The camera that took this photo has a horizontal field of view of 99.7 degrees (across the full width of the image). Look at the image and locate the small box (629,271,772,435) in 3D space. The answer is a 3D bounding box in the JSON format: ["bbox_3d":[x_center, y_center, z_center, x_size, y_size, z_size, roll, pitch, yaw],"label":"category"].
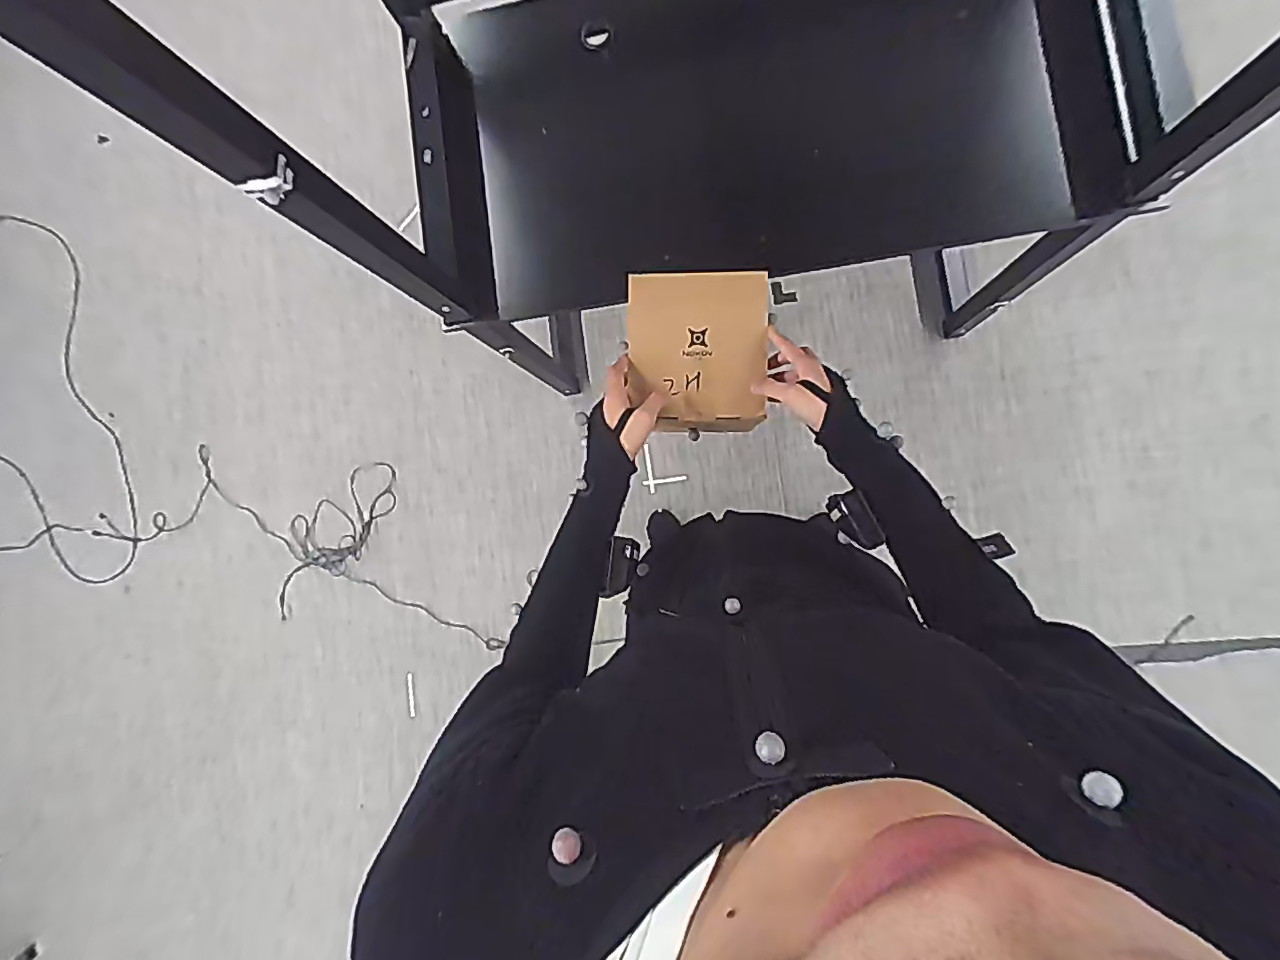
[{"bbox_3d":[0.076,-0.157,0.712,0.168,0.176,0.179,1,90,5],"label":"small box"}]
